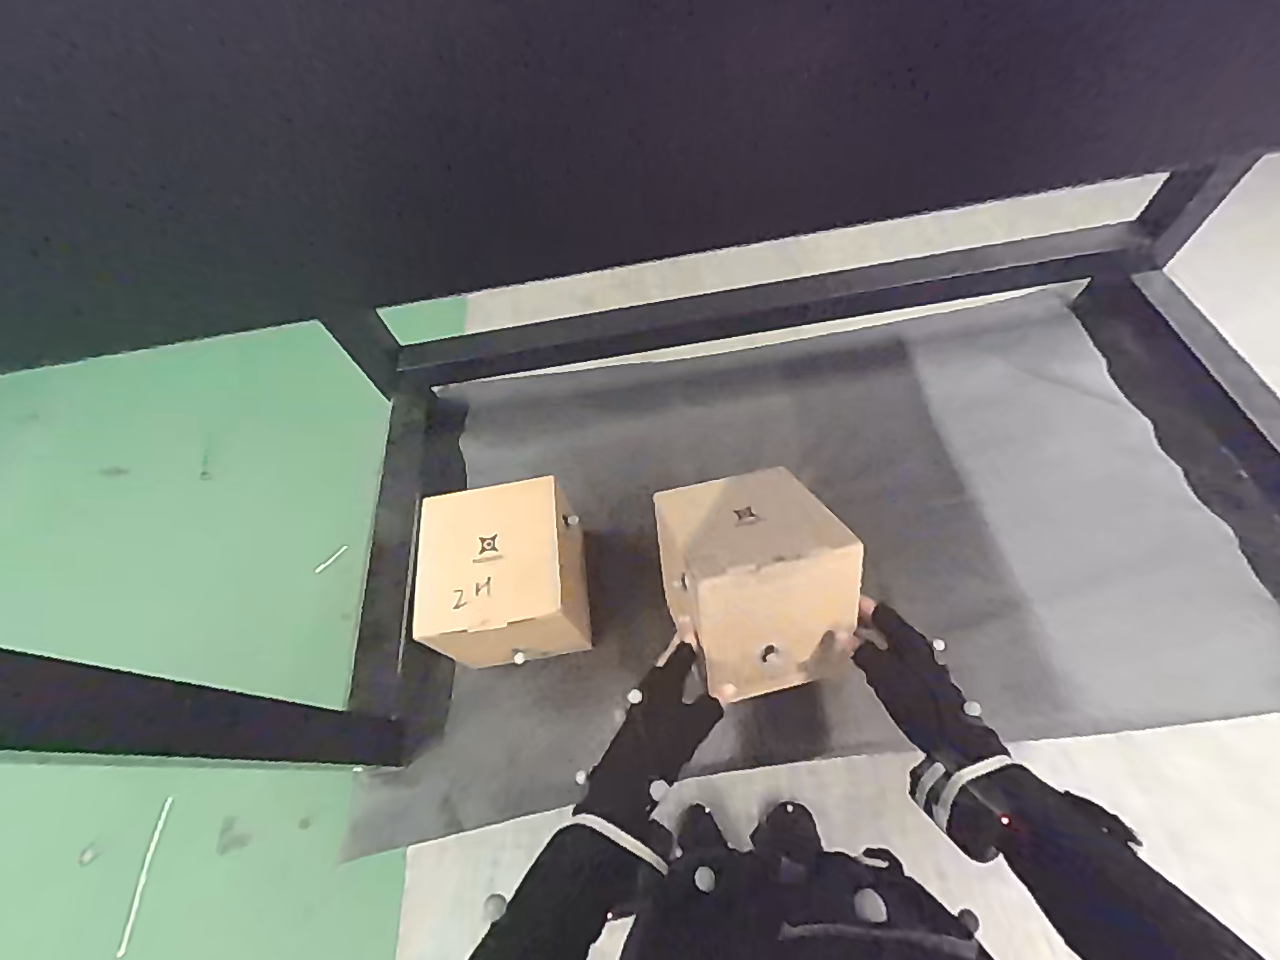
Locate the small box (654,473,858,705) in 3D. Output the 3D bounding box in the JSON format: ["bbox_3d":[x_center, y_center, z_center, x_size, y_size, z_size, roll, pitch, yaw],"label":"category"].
[{"bbox_3d":[0.119,0.112,0.602,0.168,0.176,0.179,-12,25,-7],"label":"small box"}]

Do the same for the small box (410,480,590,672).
[{"bbox_3d":[-0.163,0.126,0.681,0.168,0.176,0.179,-10,58,3],"label":"small box"}]
